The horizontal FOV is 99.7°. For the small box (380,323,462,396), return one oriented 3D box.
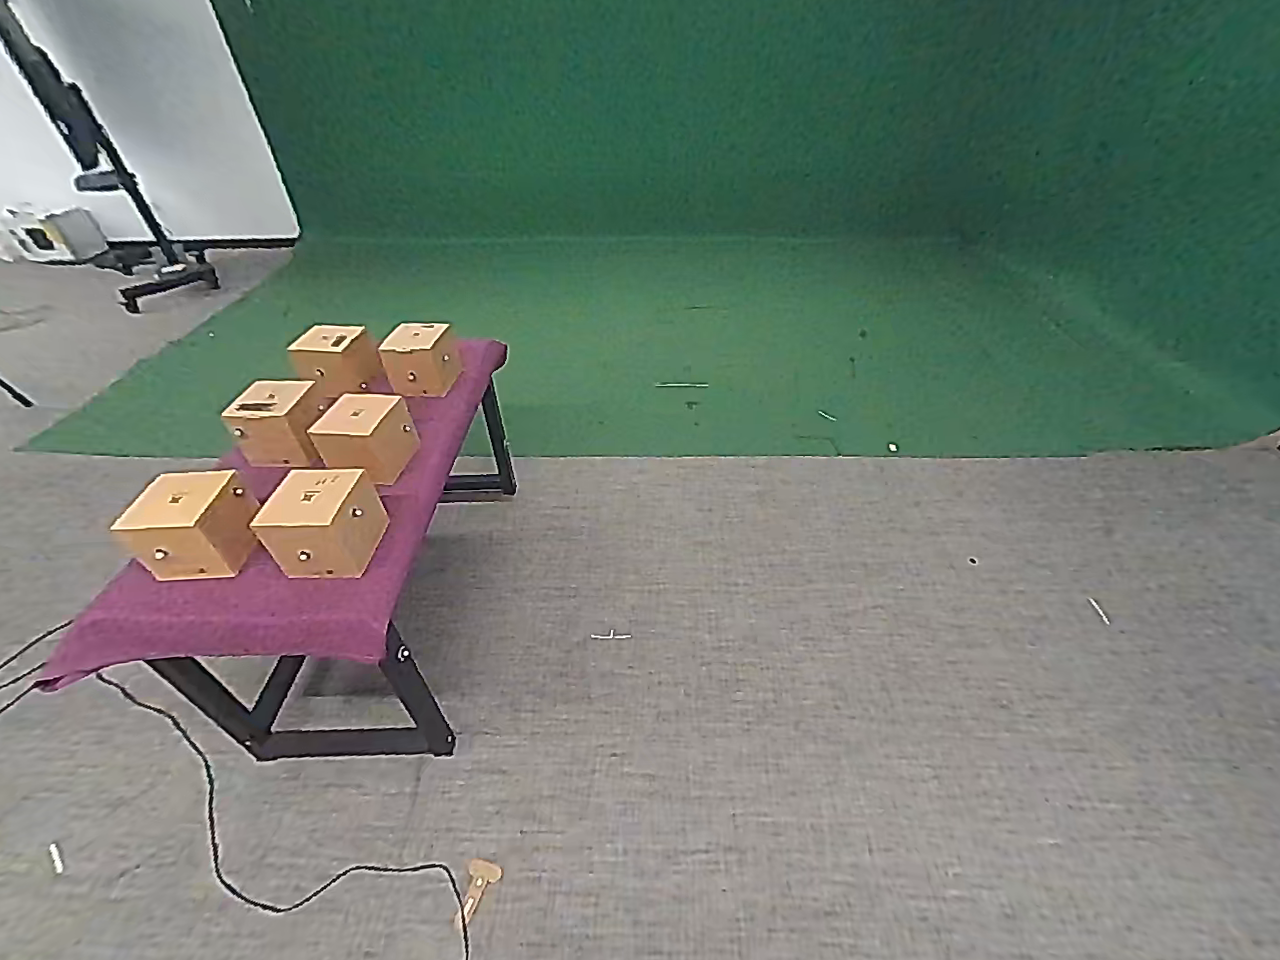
[{"bbox_3d":[-0.684,-0.382,1.718,0.168,0.176,0.179,2,43,5],"label":"small box"}]

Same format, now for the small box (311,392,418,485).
[{"bbox_3d":[-0.705,-0.109,1.412,0.168,0.176,0.179,4,43,8],"label":"small box"}]

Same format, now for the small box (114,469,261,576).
[{"bbox_3d":[-0.963,0.097,1.184,0.168,0.176,0.179,-3,41,-2],"label":"small box"}]

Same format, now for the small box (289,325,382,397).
[{"bbox_3d":[-0.956,-0.376,1.719,0.179,0.176,0.168,3,42,5],"label":"small box"}]

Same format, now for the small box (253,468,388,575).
[{"bbox_3d":[-0.679,0.092,1.178,0.168,0.176,0.179,0,41,2],"label":"small box"}]
